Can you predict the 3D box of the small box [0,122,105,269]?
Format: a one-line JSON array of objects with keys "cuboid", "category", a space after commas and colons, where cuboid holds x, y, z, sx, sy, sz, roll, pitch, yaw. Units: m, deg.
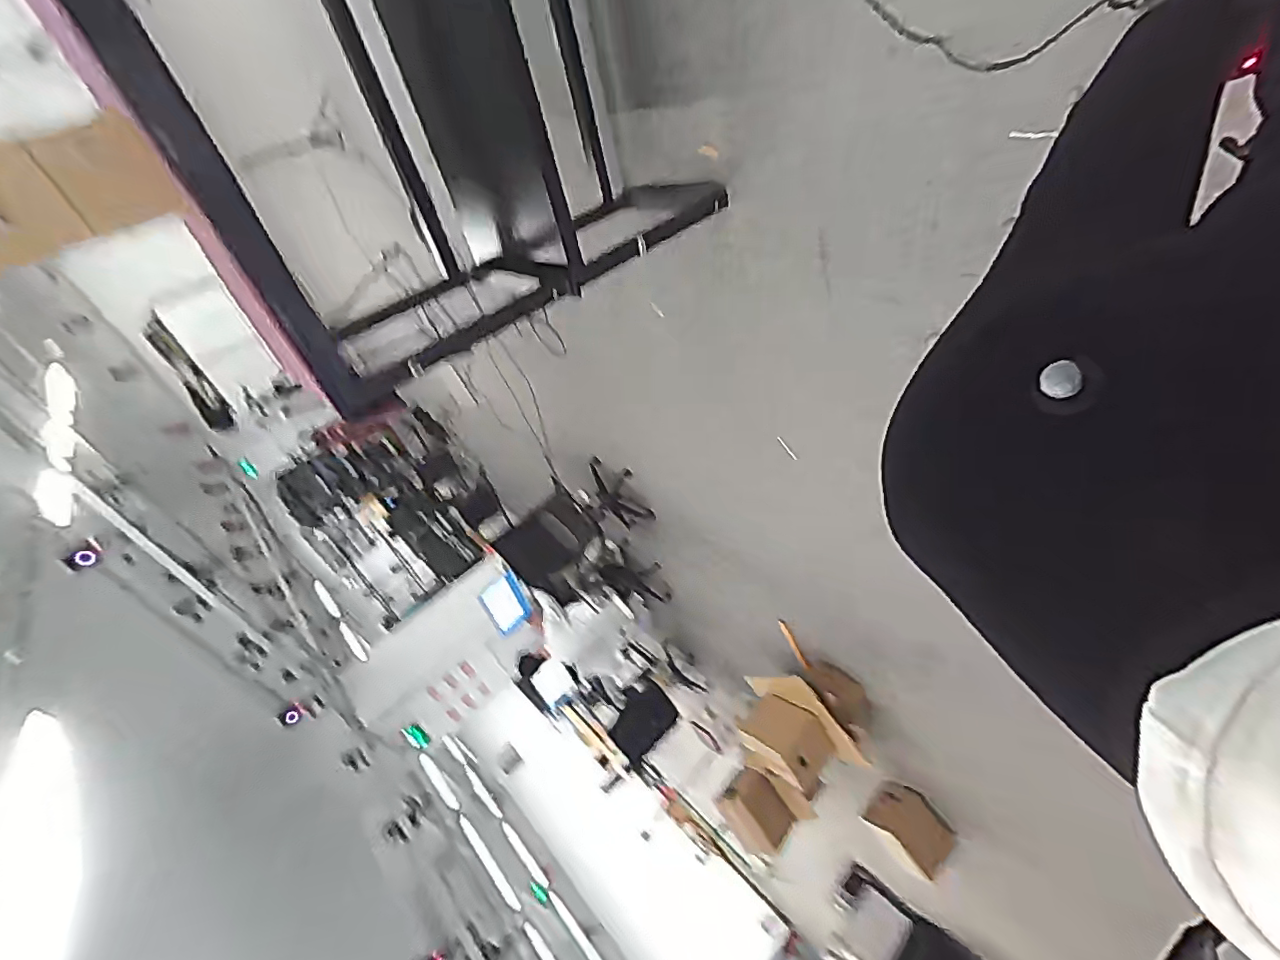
[{"cuboid": [-1.090, -0.496, 0.939, 0.168, 0.176, 0.179, 30, 148, 39], "category": "small box"}]
